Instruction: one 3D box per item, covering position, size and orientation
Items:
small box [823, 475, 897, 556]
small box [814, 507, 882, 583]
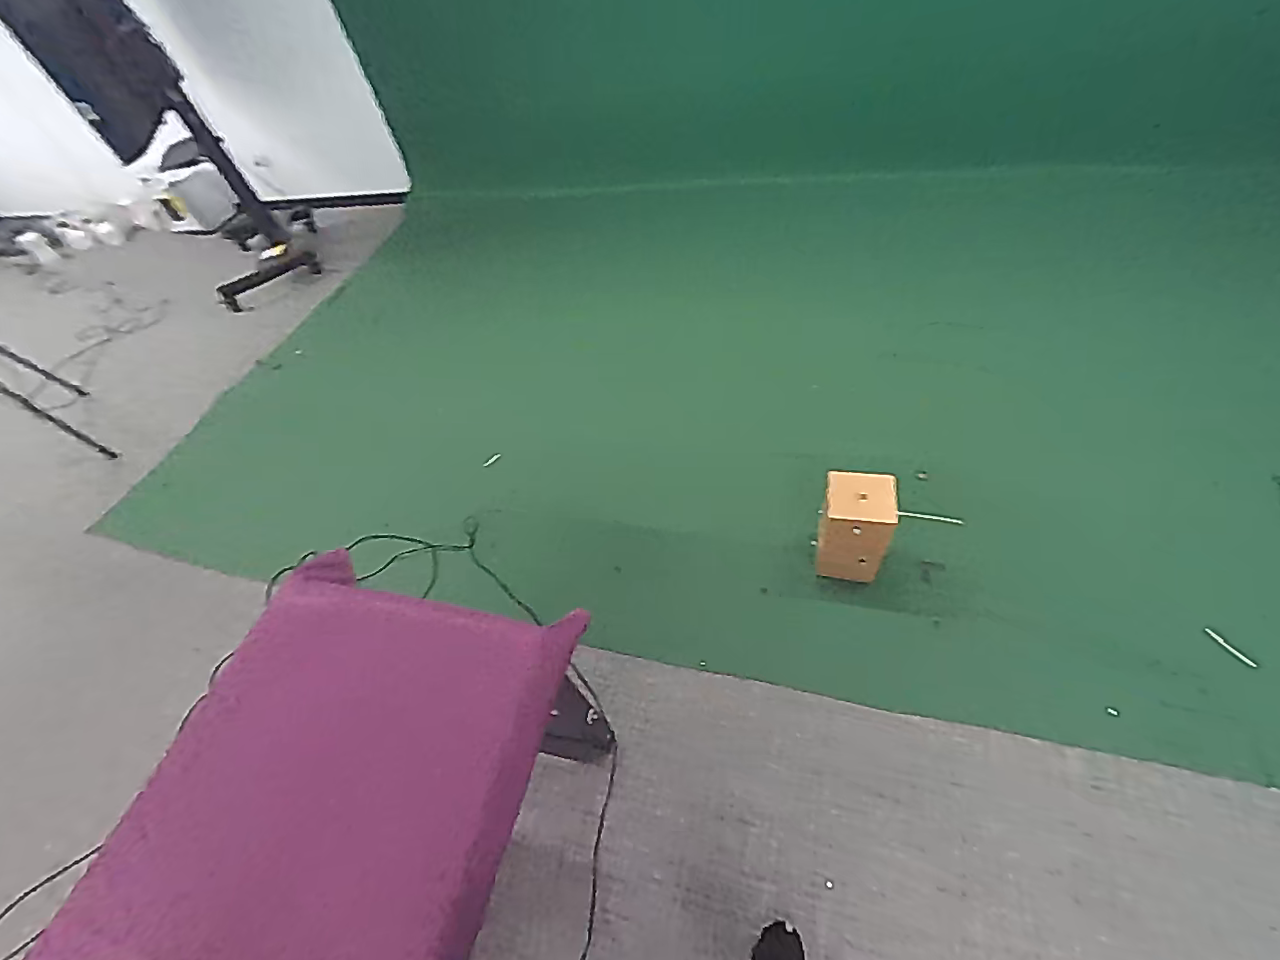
[{"bbox_3d":[0.628,0.104,1.557,0.179,0.176,0.168,3,53,16],"label":"small box"},{"bbox_3d":[0.647,0.205,1.683,0.179,0.176,0.168,6,53,17],"label":"small box"}]
